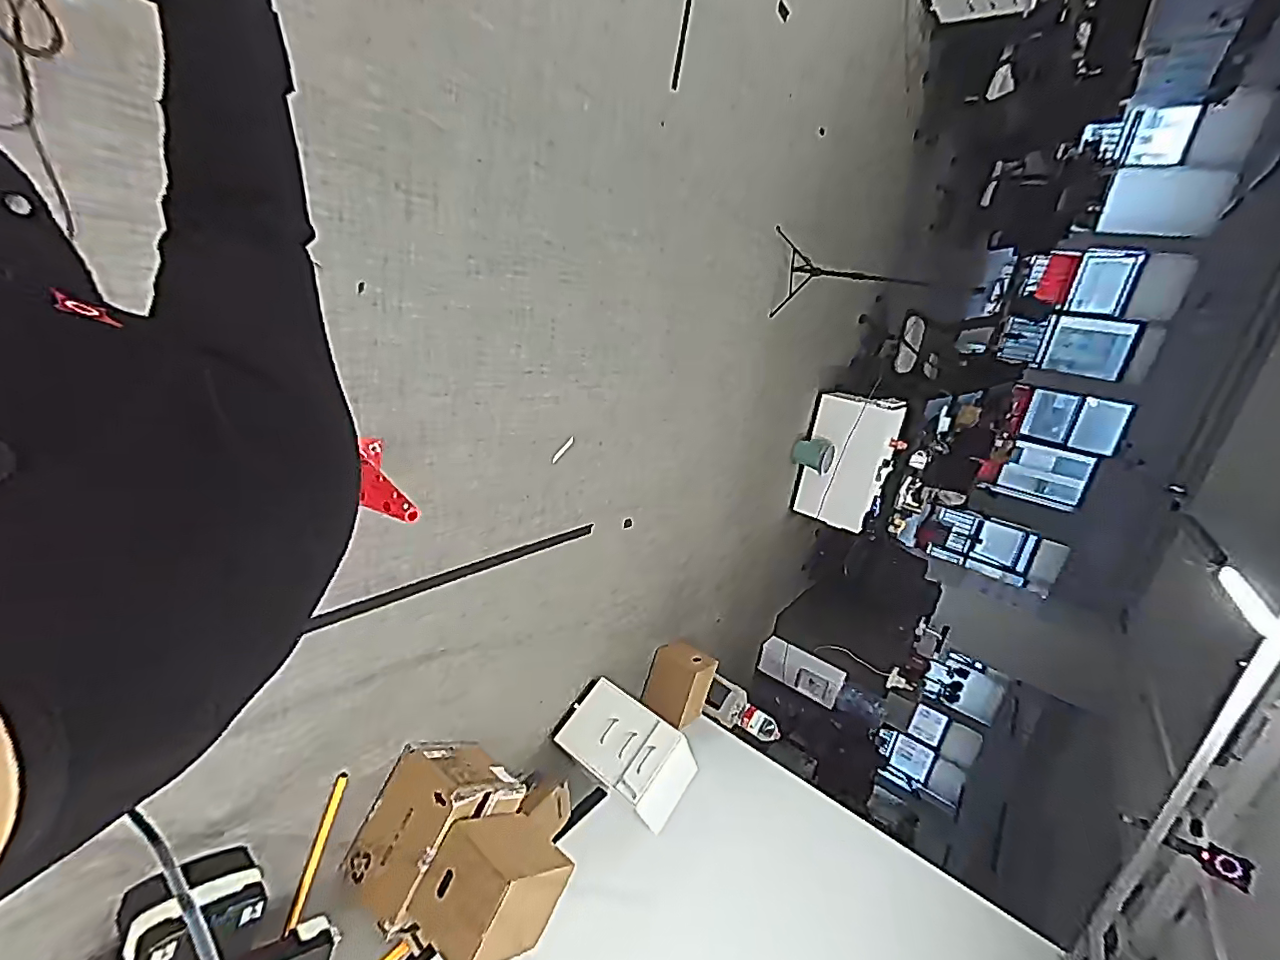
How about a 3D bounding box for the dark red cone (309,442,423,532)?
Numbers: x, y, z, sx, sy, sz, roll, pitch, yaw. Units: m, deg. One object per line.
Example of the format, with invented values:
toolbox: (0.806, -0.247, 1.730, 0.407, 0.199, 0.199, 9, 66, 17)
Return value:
dark red cone: (-0.679, 0.042, 1.399, 0.201, 0.394, 0.202, -5, 112, -52)
